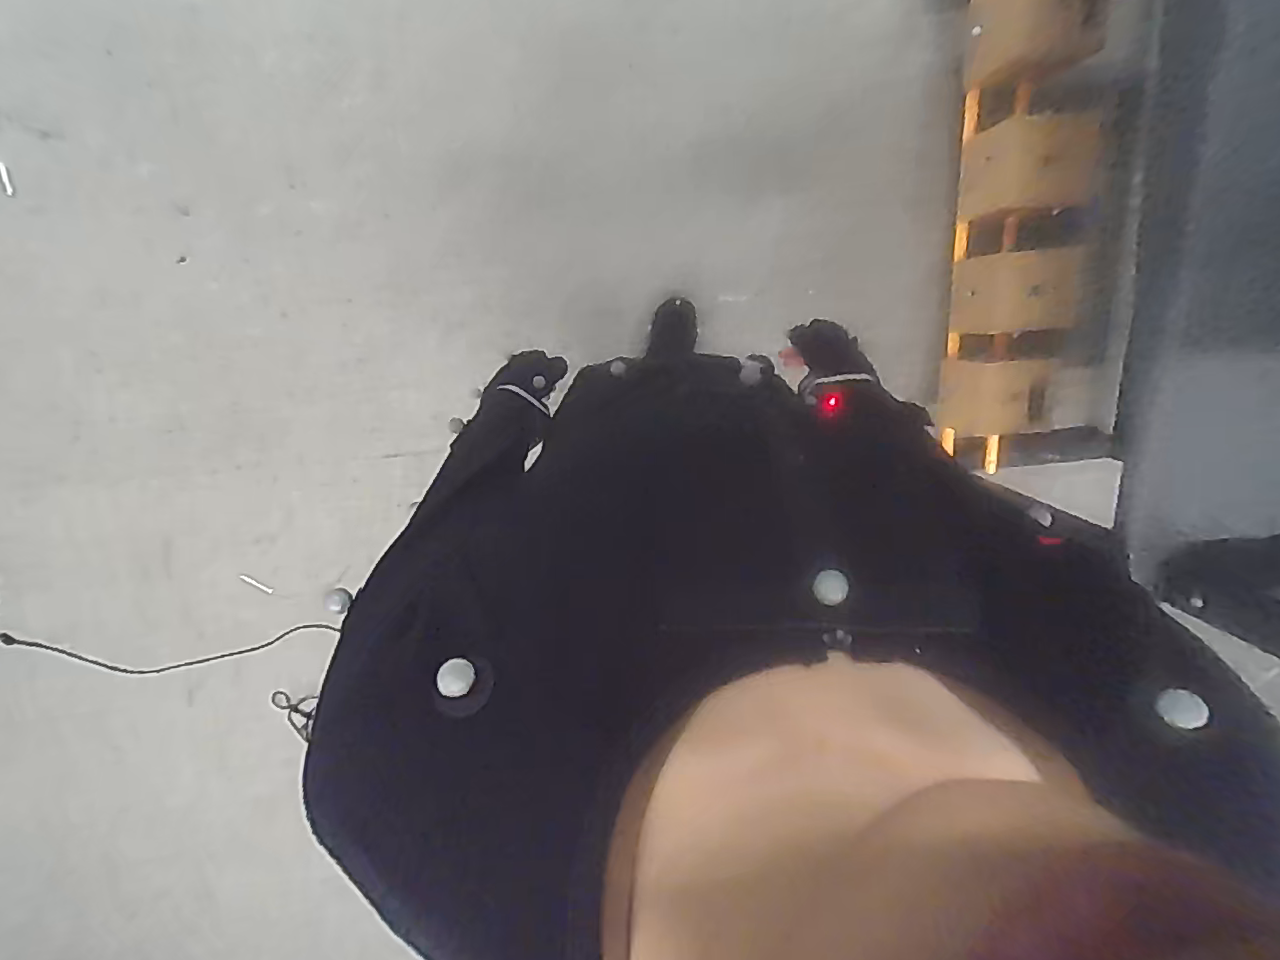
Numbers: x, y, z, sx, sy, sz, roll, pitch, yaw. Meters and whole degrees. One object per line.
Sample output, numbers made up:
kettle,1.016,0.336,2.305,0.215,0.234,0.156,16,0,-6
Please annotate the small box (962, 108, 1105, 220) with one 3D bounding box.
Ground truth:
small box,0.818,-0.658,1.145,0.179,0.176,0.168,-4,107,0

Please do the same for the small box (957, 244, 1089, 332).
small box,0.844,-0.423,1.210,0.179,0.176,0.168,-5,106,0
